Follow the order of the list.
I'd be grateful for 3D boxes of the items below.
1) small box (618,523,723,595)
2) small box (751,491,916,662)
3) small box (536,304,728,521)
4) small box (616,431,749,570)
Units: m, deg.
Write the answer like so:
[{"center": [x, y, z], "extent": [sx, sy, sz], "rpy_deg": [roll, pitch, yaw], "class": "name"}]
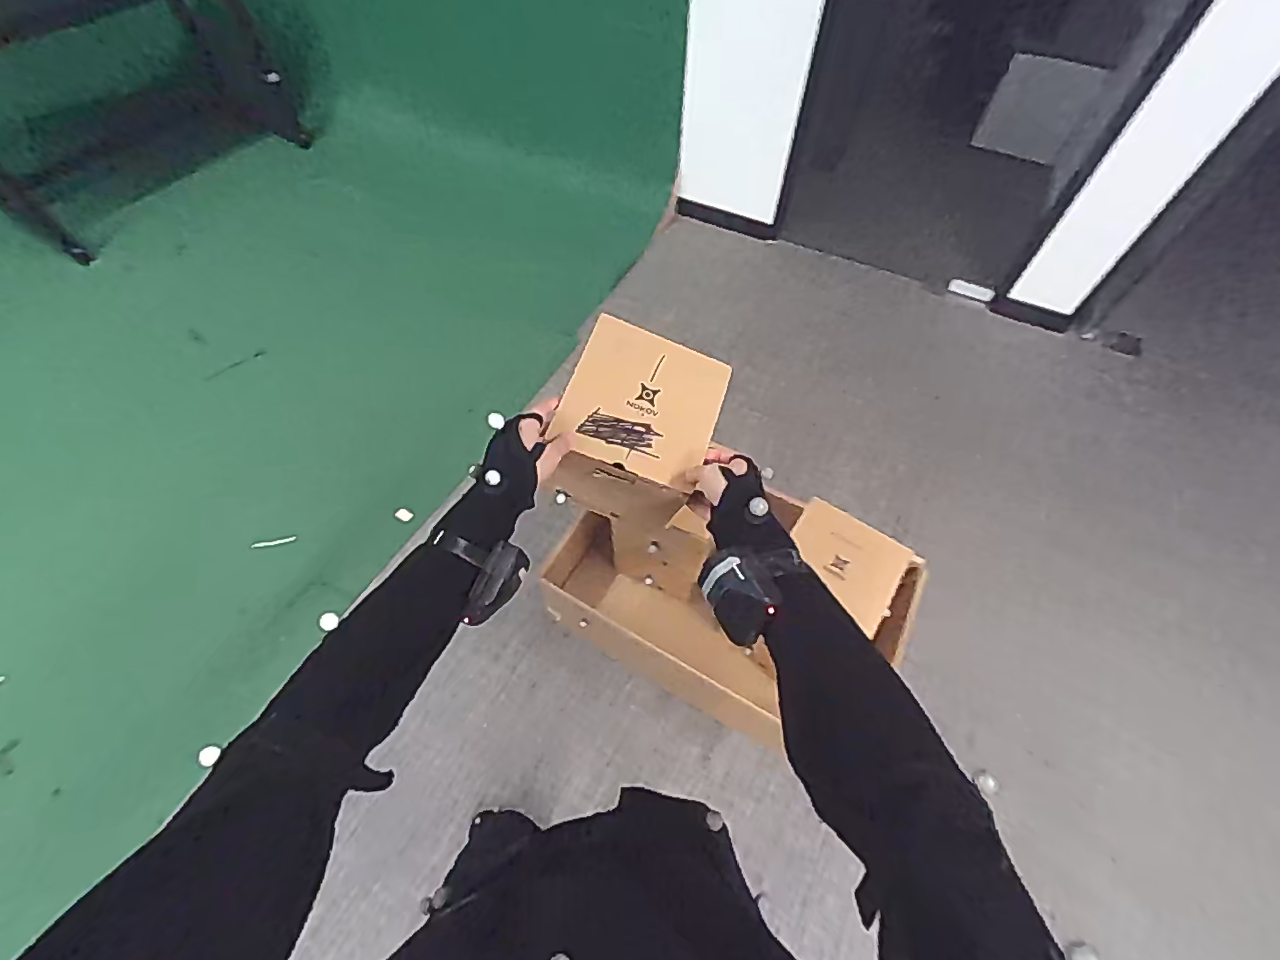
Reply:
[{"center": [0.066, 0.097, 1.070], "extent": [0.168, 0.176, 0.179], "rpy_deg": [24, 61, 14], "class": "small box"}, {"center": [0.290, 0.157, 0.848], "extent": [0.168, 0.176, 0.179], "rpy_deg": [32, 64, 17], "class": "small box"}, {"center": [-0.016, -0.069, 0.654], "extent": [0.168, 0.176, 0.179], "rpy_deg": [22, 67, -4], "class": "small box"}, {"center": [0.068, 0.027, 0.921], "extent": [0.168, 0.176, 0.179], "rpy_deg": [24, 62, 13], "class": "small box"}]
